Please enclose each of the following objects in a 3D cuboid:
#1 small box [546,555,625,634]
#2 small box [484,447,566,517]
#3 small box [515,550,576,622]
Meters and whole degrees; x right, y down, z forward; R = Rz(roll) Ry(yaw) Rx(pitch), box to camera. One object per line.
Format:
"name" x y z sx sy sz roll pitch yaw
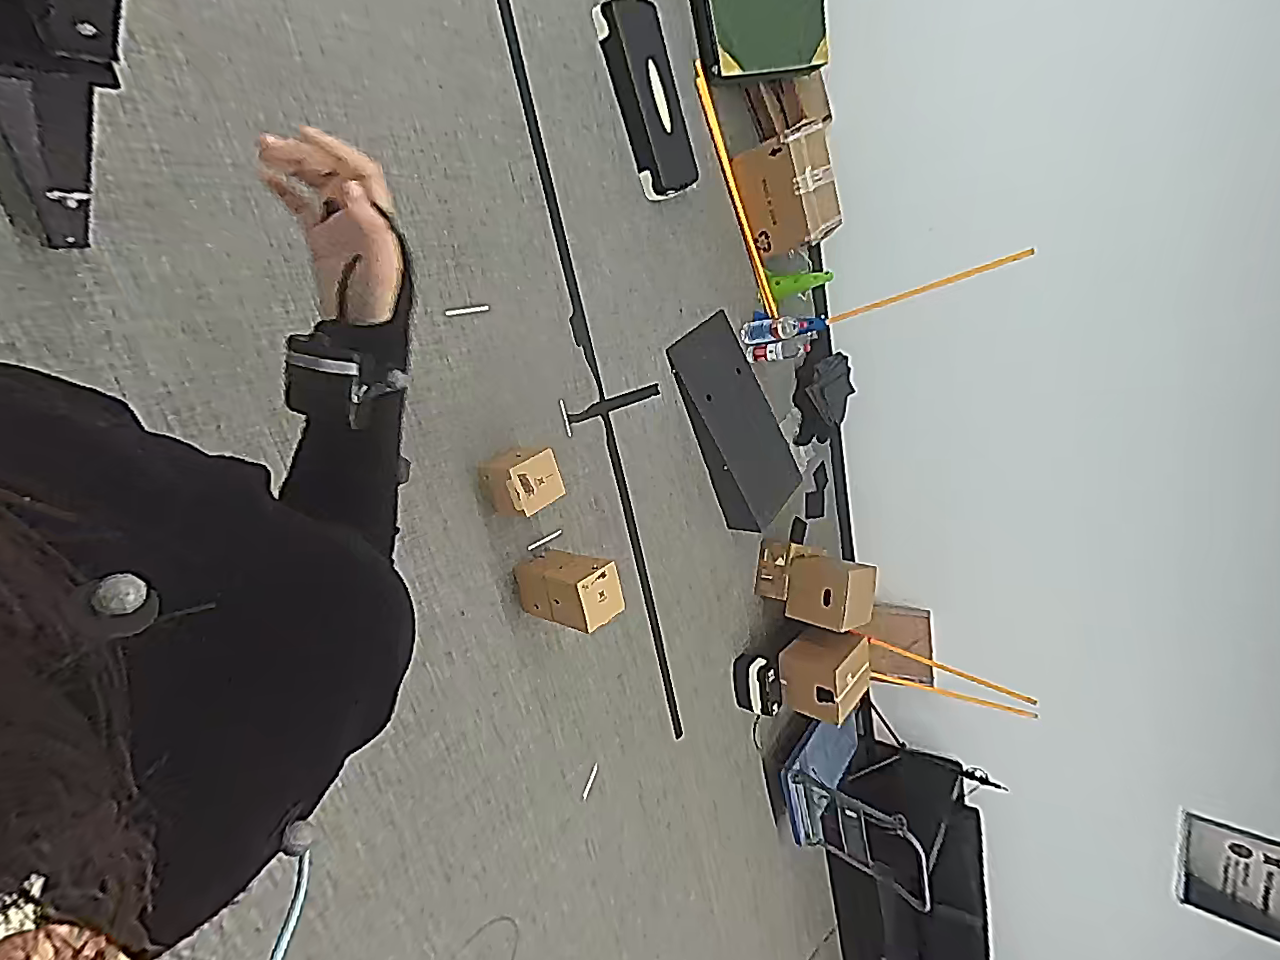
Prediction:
"small box" -0.176 0.359 1.728 0.168 0.176 0.179 -27 112 -44
"small box" -0.375 0.003 1.729 0.179 0.176 0.168 -35 117 -41
"small box" -0.298 0.354 1.838 0.168 0.176 0.179 -25 110 -44
